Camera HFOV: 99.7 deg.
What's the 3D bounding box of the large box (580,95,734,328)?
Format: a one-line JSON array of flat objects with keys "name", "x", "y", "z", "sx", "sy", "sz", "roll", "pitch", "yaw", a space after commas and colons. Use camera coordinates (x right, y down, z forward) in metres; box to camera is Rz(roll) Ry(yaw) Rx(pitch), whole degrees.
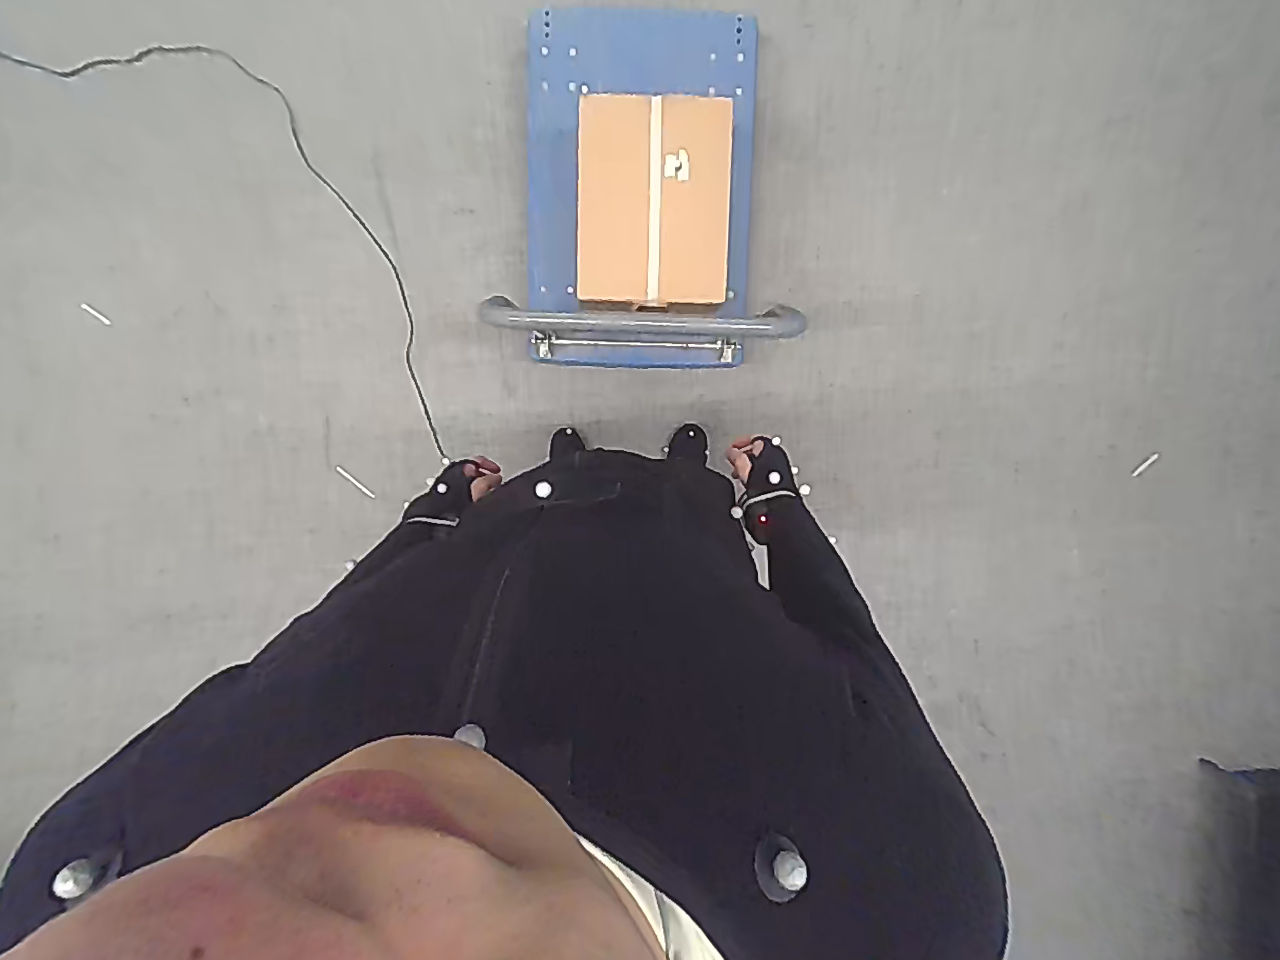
[{"name": "large box", "x": 0.033, "y": -0.579, "z": 1.243, "sx": 0.320, "sy": 0.320, "sz": 0.408, "roll": 1, "pitch": 95, "yaw": -2}]
